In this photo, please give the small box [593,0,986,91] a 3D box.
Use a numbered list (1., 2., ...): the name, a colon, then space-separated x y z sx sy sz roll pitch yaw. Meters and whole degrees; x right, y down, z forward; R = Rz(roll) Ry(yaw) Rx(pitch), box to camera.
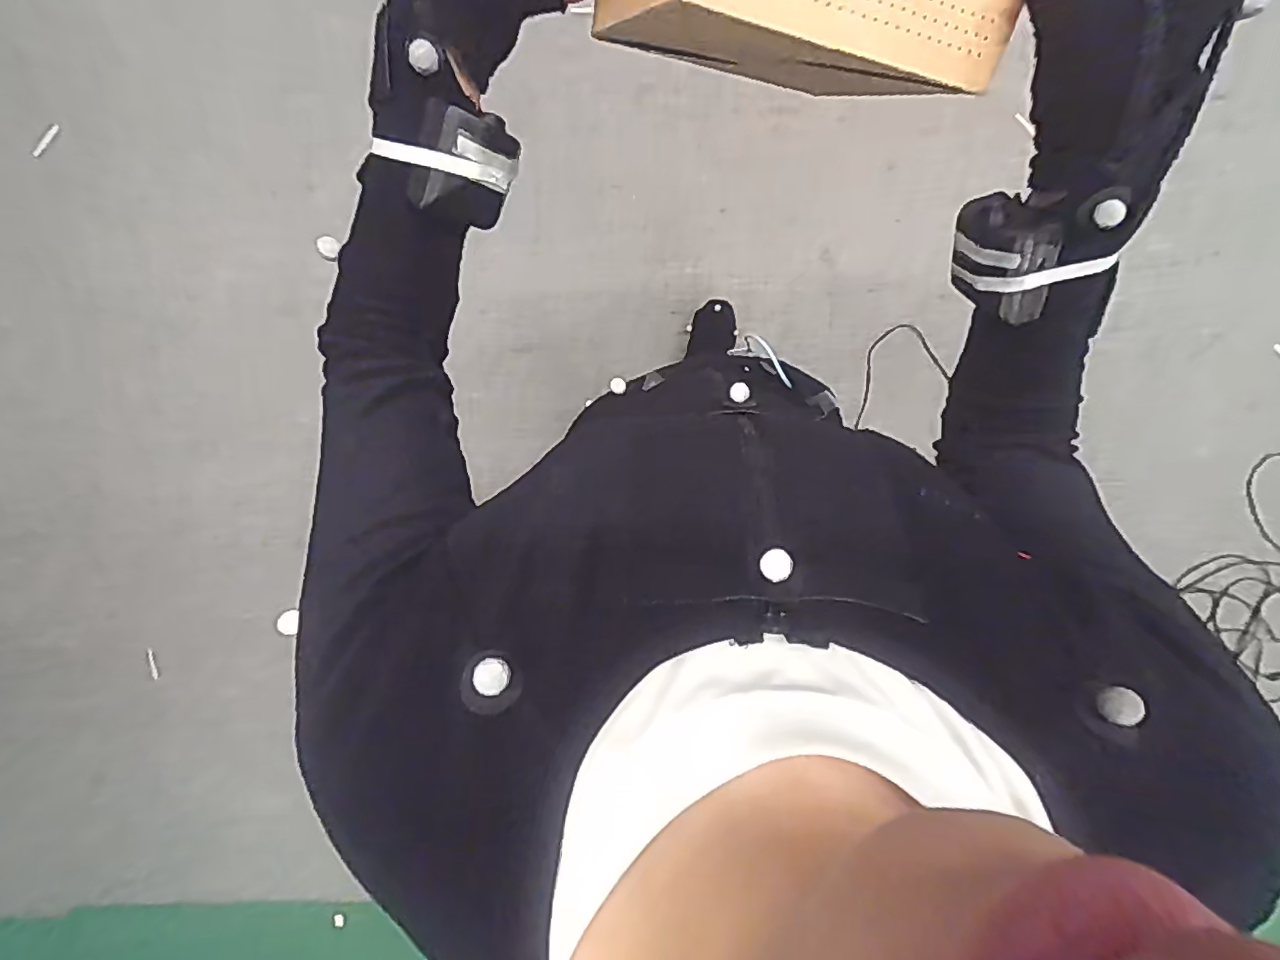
1. small box: 0.084 -0.316 0.276 0.179 0.168 0.176 0 123 -18
